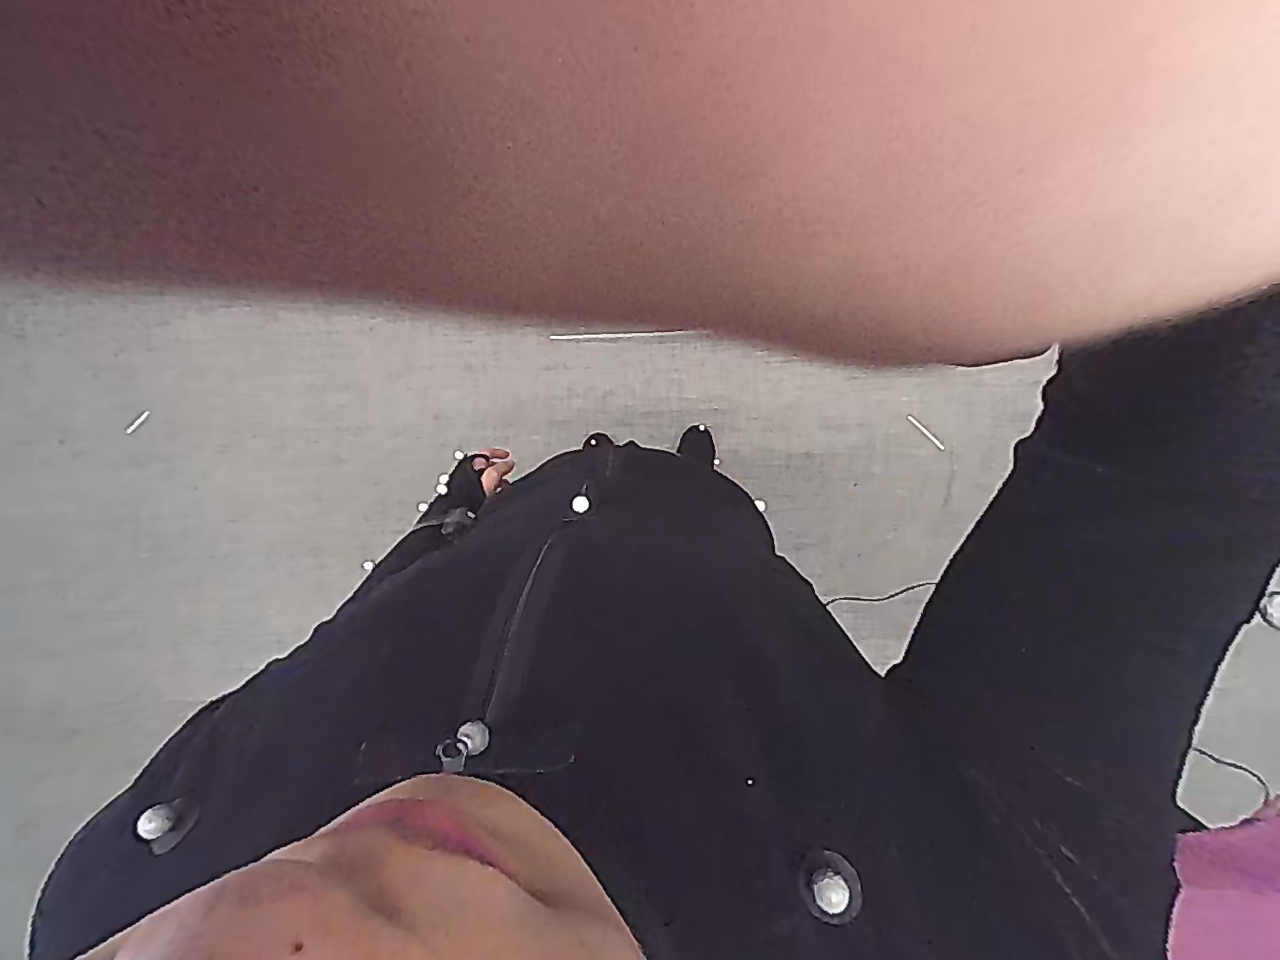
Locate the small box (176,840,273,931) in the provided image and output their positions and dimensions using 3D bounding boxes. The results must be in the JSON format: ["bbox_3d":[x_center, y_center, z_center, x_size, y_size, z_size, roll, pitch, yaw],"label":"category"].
[{"bbox_3d":[-1.310,1.277,1.712,0.179,0.176,0.168,-2,95,2],"label":"small box"}]
